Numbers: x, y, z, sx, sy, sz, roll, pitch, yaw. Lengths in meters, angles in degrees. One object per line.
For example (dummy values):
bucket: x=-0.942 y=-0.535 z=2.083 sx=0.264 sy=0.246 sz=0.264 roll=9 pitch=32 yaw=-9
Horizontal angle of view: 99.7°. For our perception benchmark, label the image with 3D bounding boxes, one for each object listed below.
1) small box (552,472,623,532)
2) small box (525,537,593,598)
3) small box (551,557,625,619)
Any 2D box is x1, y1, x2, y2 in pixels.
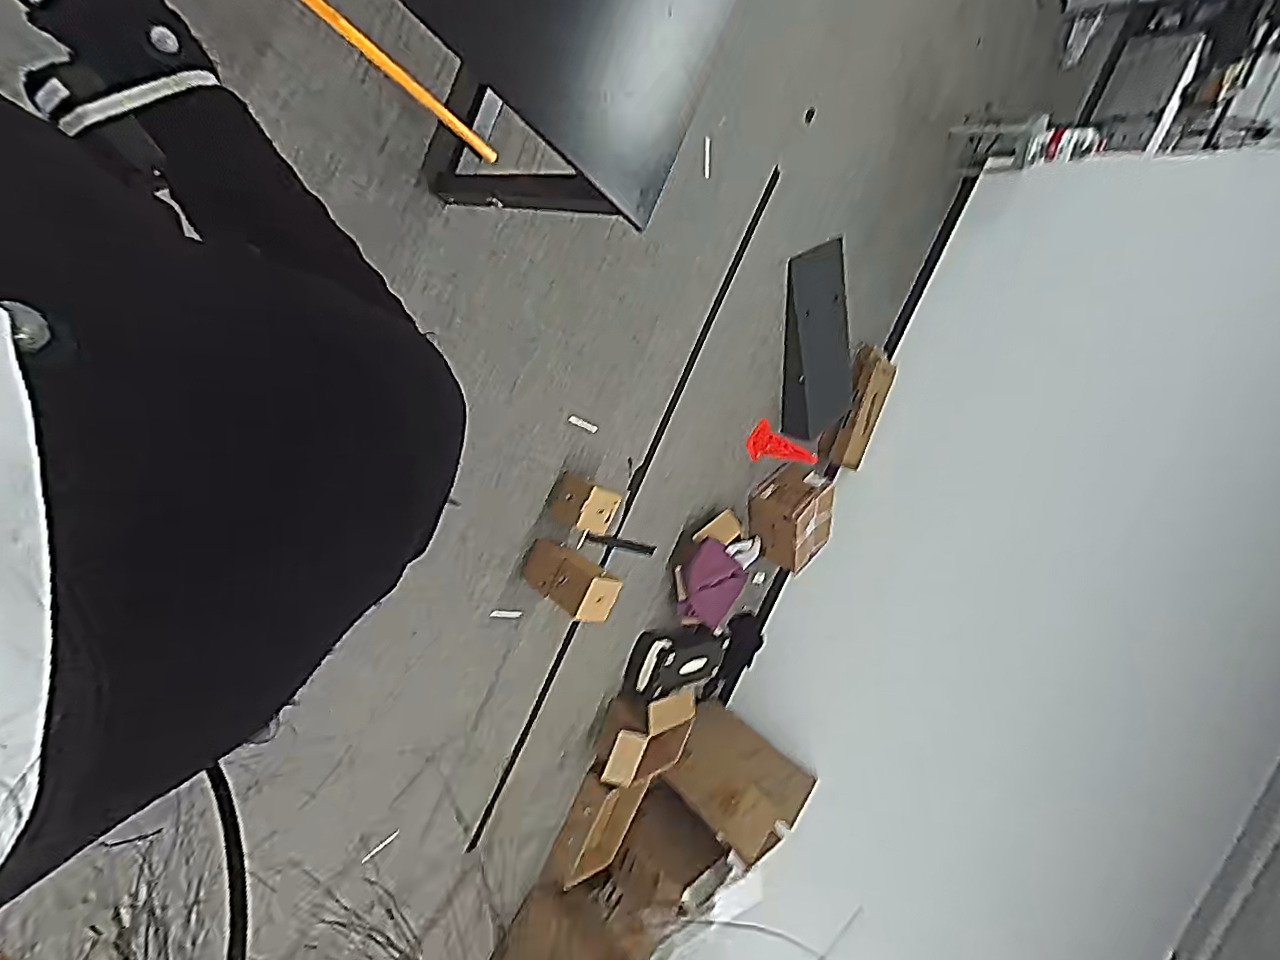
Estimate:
small box: x=-0.204 y=0.081 z=2.072 sx=0.179 sy=0.176 sz=0.168 roll=24 pitch=92 yaw=-51
small box: x=-0.318 y=0.343 z=2.095 sx=0.168 sy=0.176 sz=0.179 roll=18 pitch=97 yaw=-52
small box: x=-0.196 y=0.400 z=2.003 sx=0.179 sy=0.176 sz=0.168 roll=22 pitch=94 yaw=-50
